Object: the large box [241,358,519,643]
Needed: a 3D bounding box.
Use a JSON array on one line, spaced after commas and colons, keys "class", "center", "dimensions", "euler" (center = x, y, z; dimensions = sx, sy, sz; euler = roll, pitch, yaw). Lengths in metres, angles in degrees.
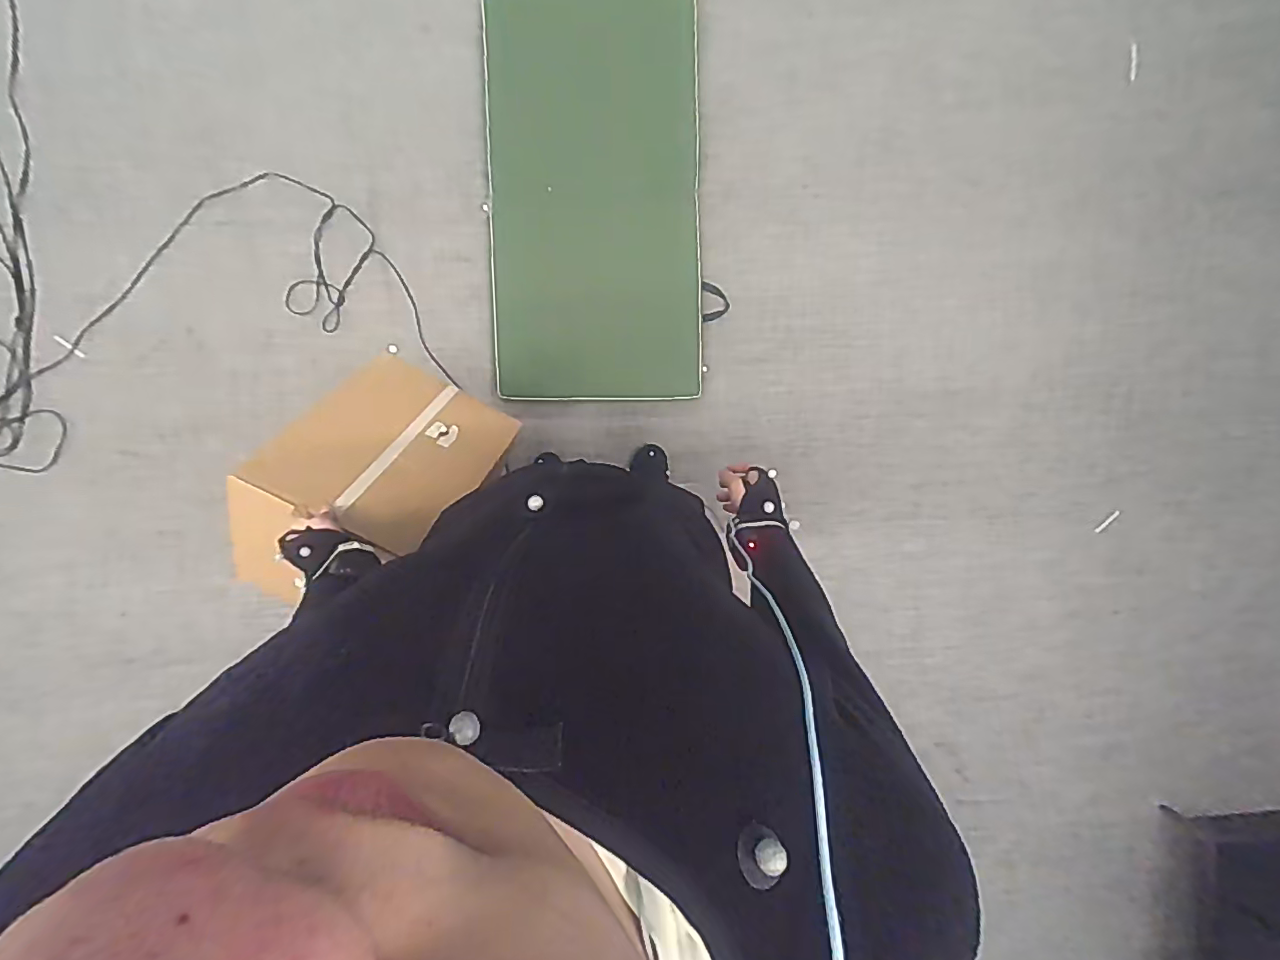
[{"class": "large box", "center": [-0.493, 0.037, 1.074], "dimensions": [0.320, 0.408, 0.320], "euler": [29, 131, -8]}]
